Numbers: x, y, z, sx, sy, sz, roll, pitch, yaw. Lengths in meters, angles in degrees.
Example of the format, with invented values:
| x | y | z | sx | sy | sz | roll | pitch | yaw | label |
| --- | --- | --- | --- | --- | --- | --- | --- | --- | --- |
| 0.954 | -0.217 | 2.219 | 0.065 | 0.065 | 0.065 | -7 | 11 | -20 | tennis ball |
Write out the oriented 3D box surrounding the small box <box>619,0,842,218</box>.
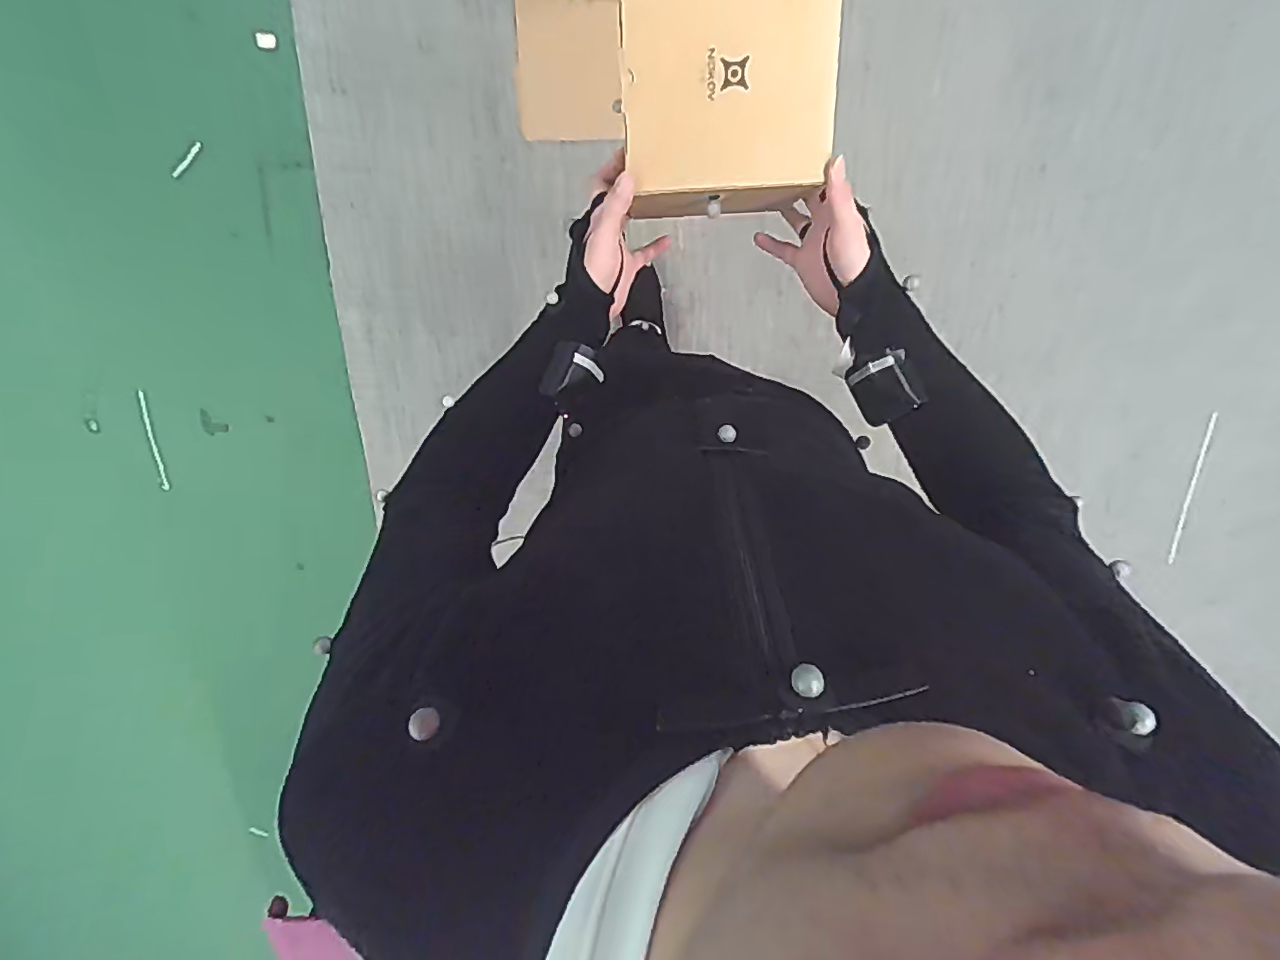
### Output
| x | y | z | sx | sy | sz | roll | pitch | yaw | label |
| --- | --- | --- | --- | --- | --- | --- | --- | --- | --- |
| 0.074 | -0.352 | 0.512 | 0.179 | 0.176 | 0.168 | -2 | 109 | 3 | small box |

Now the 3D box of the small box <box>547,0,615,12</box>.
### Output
| x | y | z | sx | sy | sz | roll | pitch | yaw | label |
| --- | --- | --- | --- | --- | --- | --- | --- | --- | --- |
| -0.132 | -1.184 | 1.197 | 0.179 | 0.176 | 0.168 | 8 | 107 | -1 | small box |
